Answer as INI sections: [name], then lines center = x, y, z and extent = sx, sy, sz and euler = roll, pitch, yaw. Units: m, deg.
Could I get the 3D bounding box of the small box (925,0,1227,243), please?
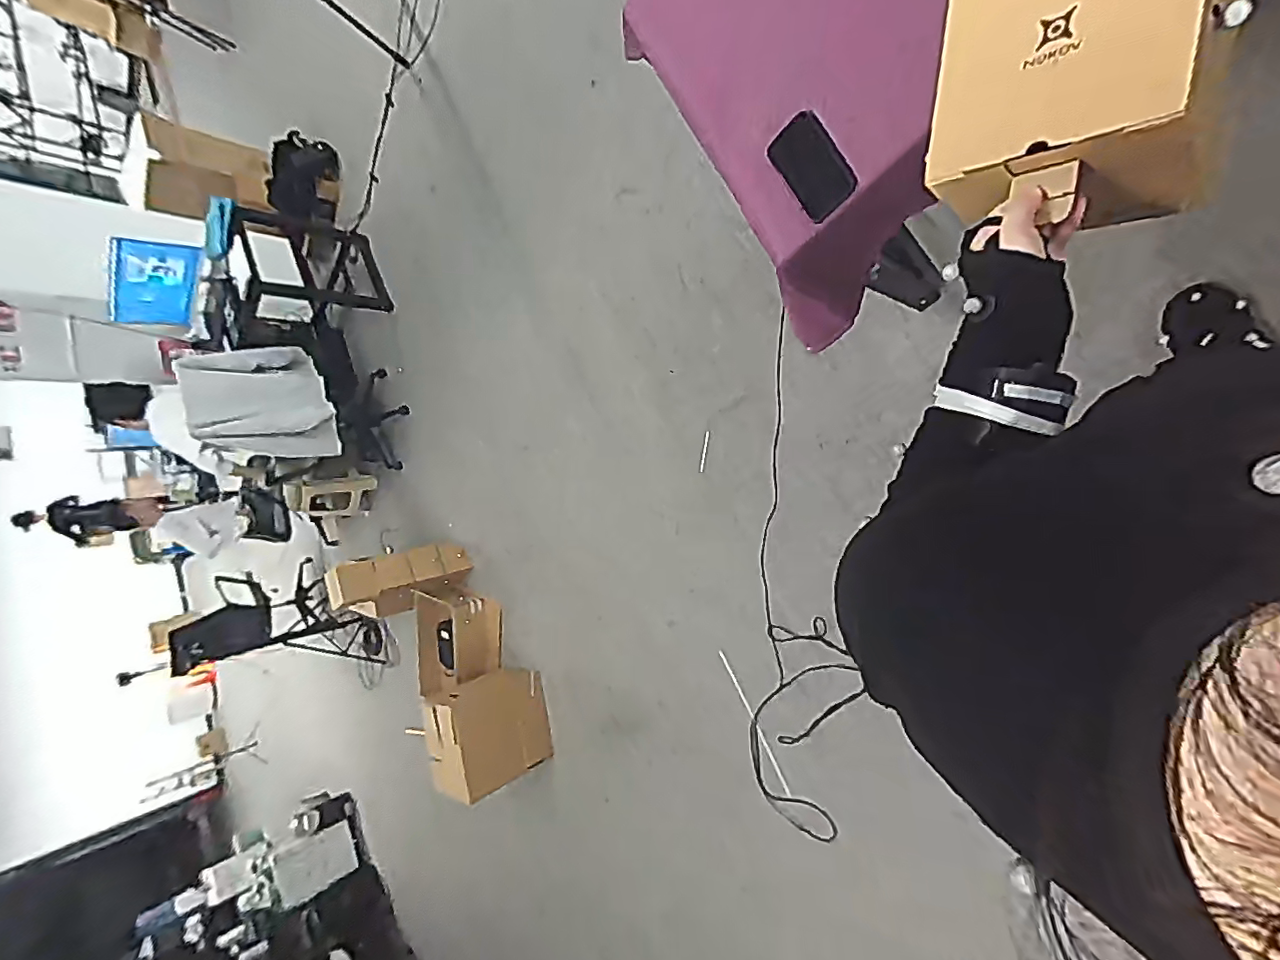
[small box]
center = 0.373, -0.332, 0.465
extent = 0.168, 0.176, 0.179
euler = 11, 96, 48
